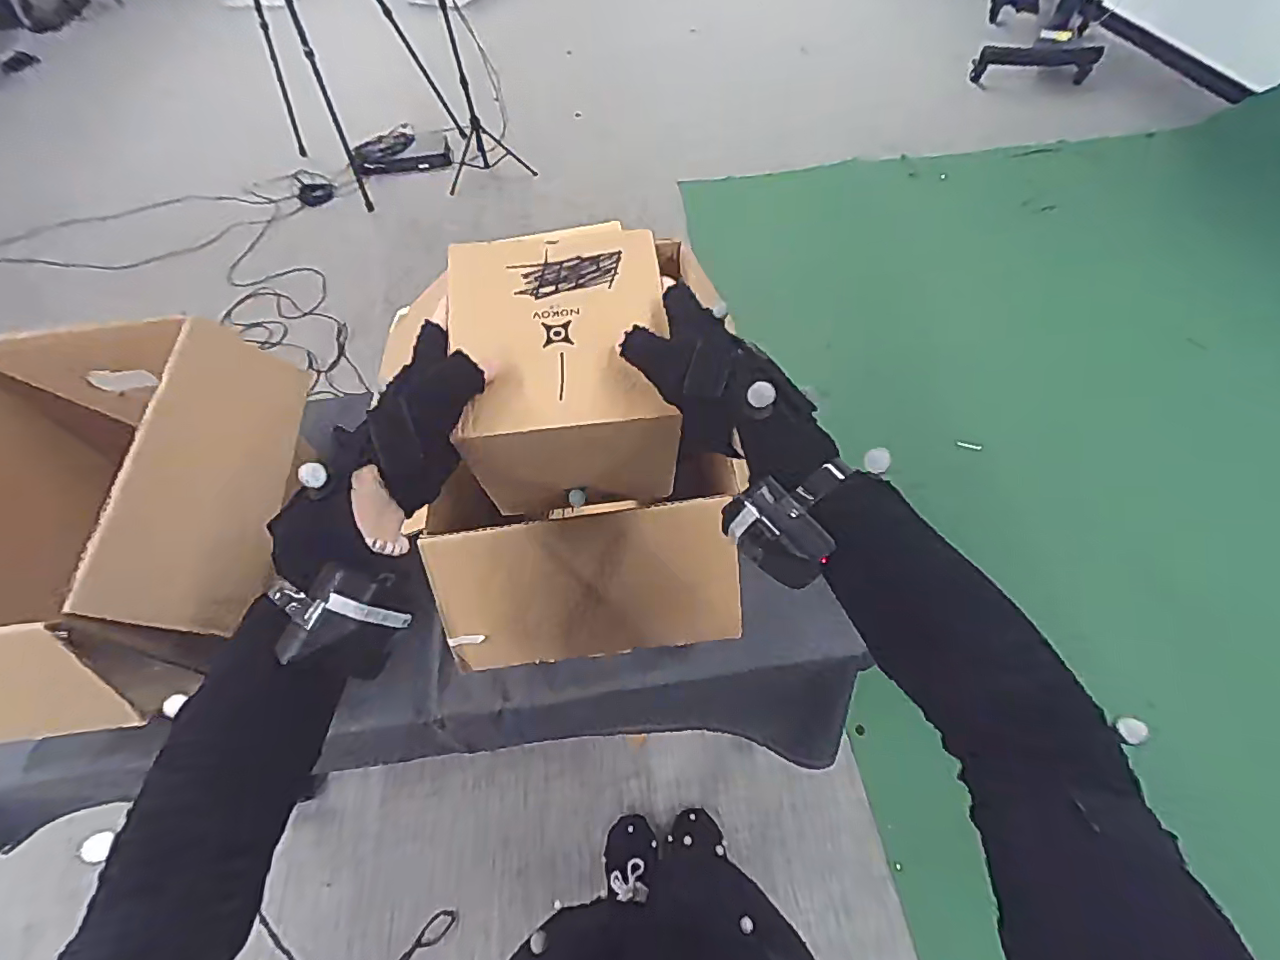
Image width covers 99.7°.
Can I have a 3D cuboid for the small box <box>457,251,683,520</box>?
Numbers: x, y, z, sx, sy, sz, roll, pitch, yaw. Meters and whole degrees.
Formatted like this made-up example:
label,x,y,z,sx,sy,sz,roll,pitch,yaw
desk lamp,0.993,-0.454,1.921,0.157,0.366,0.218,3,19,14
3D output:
label,x,y,z,sx,sy,sz,roll,pitch,yaw
small box,-0.059,-0.077,0.493,0.168,0.176,0.179,-5,68,-3
